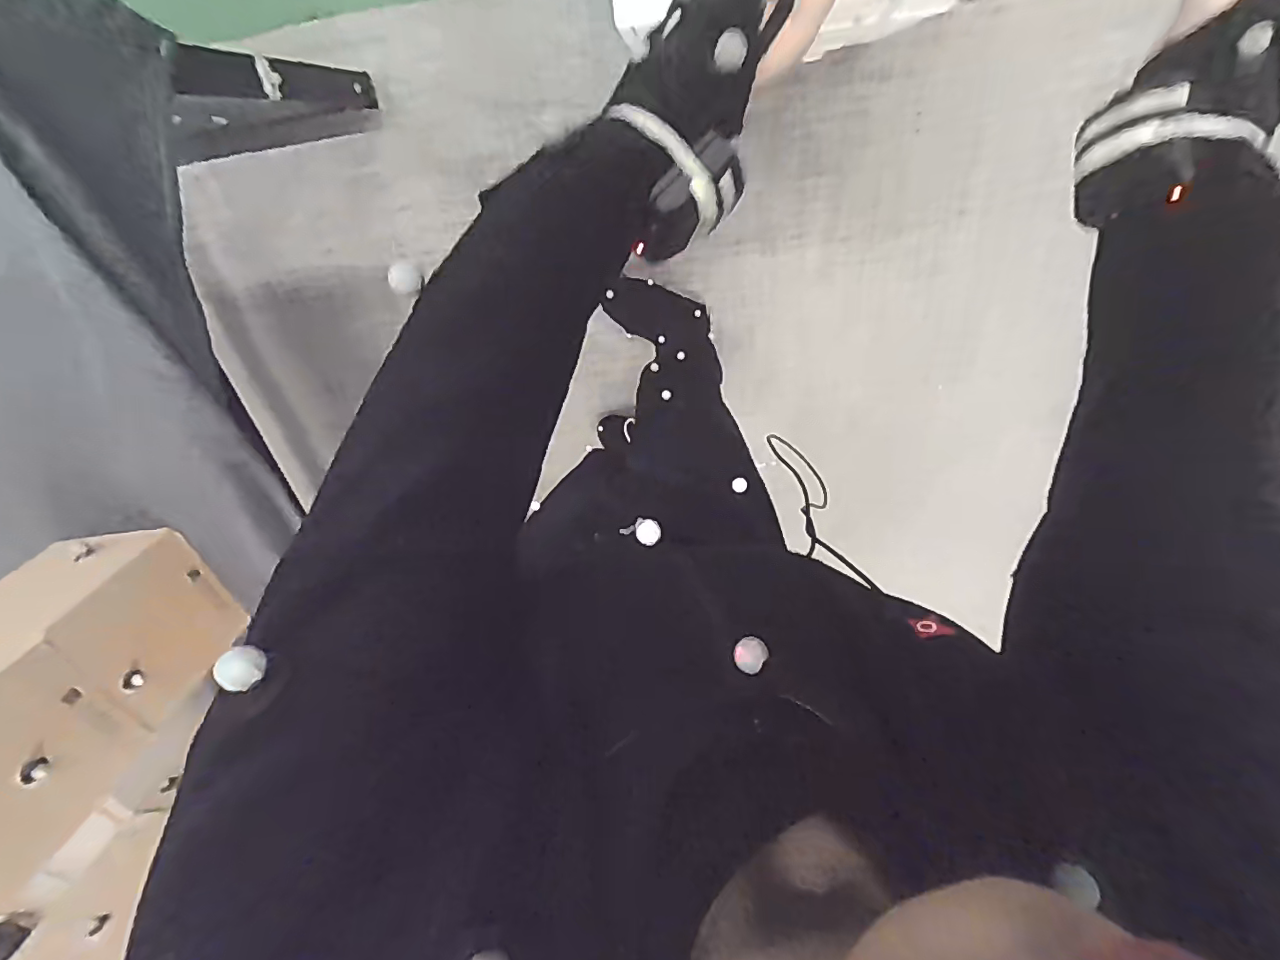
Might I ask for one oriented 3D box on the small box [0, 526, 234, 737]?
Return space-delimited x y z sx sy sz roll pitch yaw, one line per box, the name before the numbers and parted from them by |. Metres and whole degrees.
small box | -0.632 0.171 0.619 0.179 0.176 0.168 -7 123 8
